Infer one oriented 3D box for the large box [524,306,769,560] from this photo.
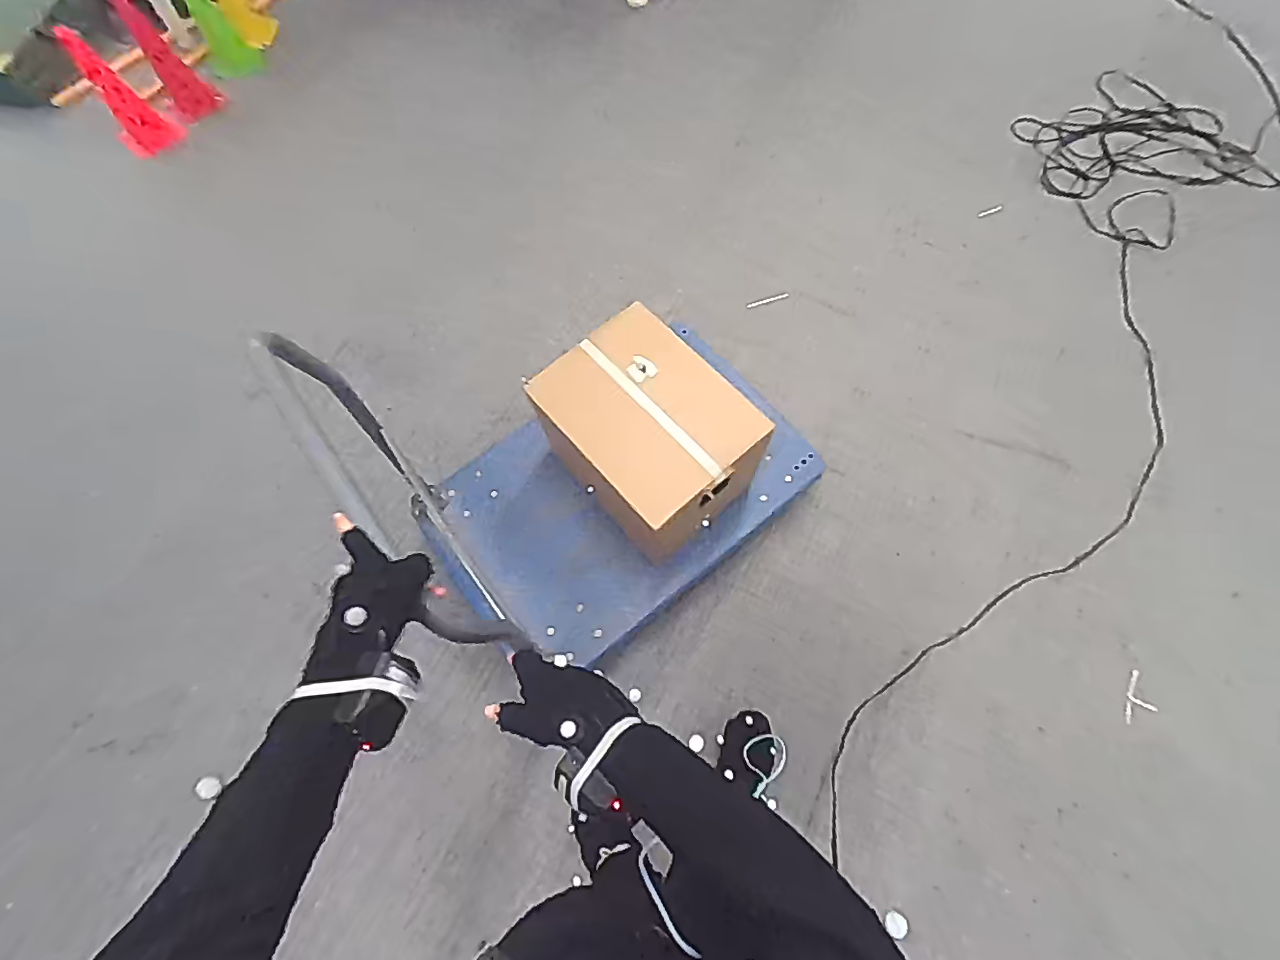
[{"bbox_3d":[0.017,-0.091,1.203,0.320,0.320,0.408,-40,71,-12],"label":"large box"}]
